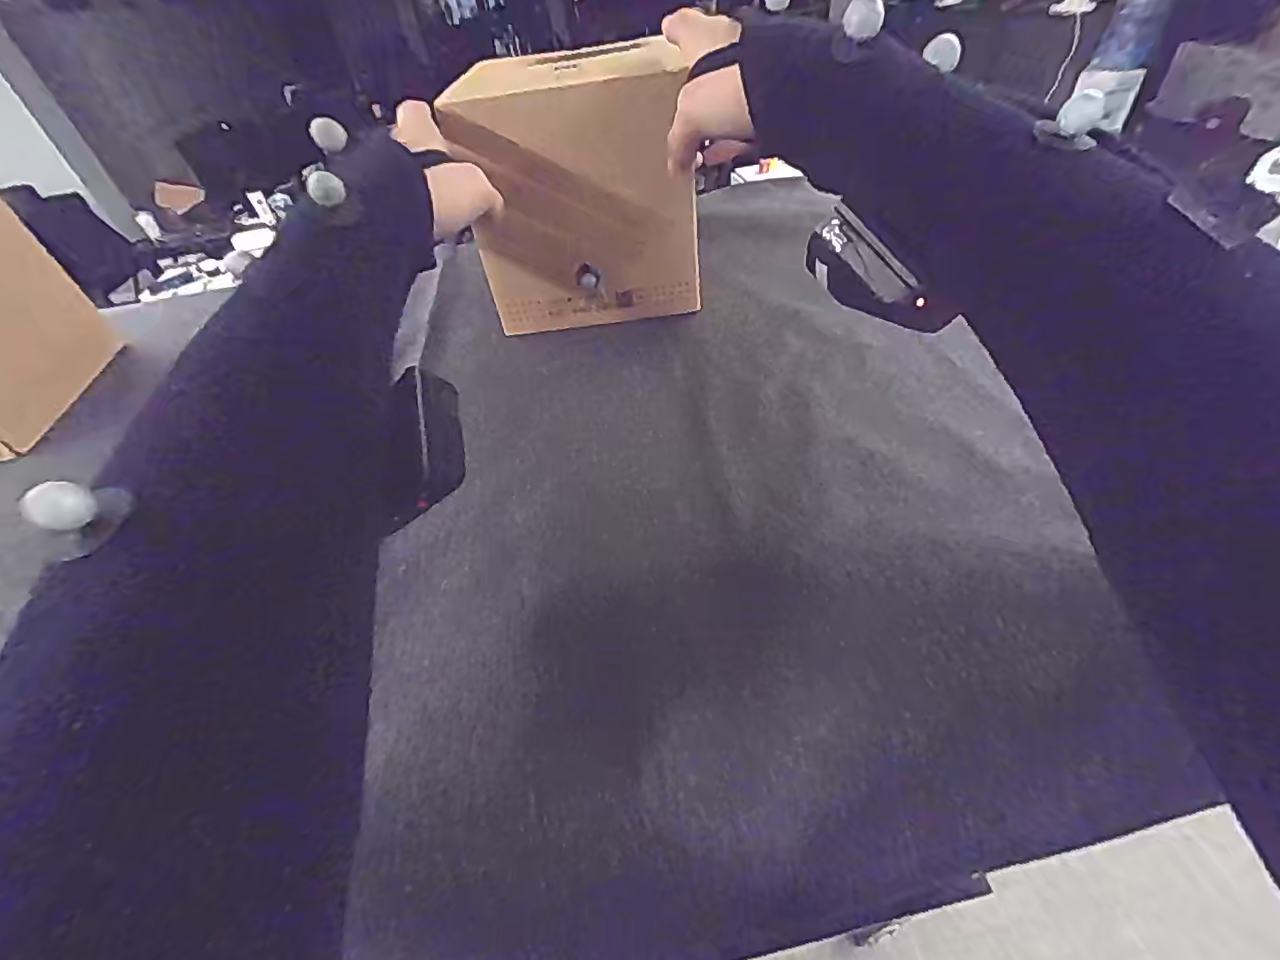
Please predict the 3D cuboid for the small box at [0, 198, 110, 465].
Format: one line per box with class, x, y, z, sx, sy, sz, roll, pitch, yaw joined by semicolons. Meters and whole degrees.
small box;-0.562;-0.111;0.397;0.168;0.176;0.179;-13;45;-5
